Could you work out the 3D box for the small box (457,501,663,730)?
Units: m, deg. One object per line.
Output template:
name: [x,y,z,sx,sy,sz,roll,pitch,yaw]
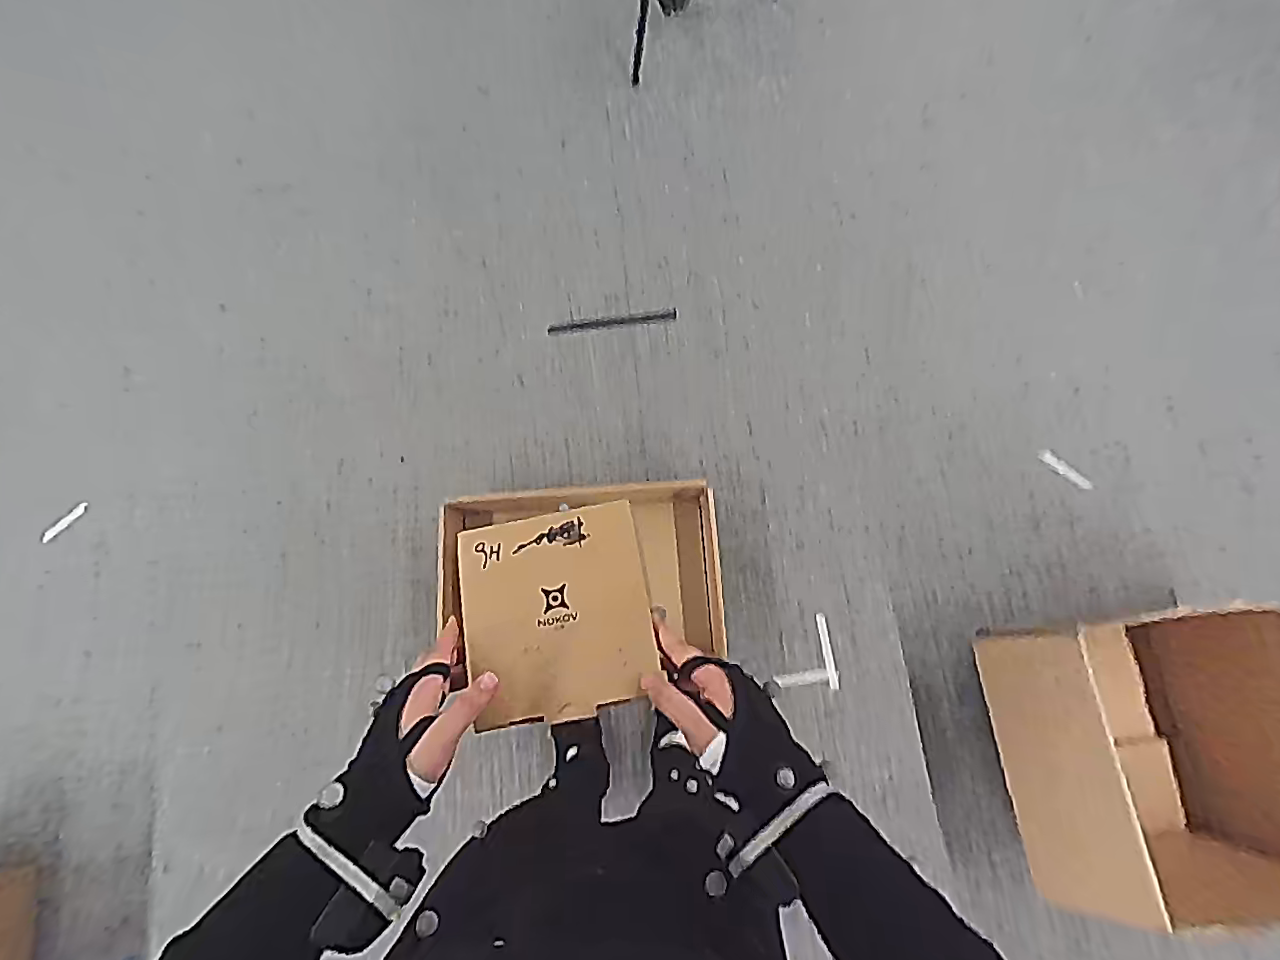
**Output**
small box: [-0.072,0.140,0.560,0.168,0.176,0.179,-12,71,-1]
